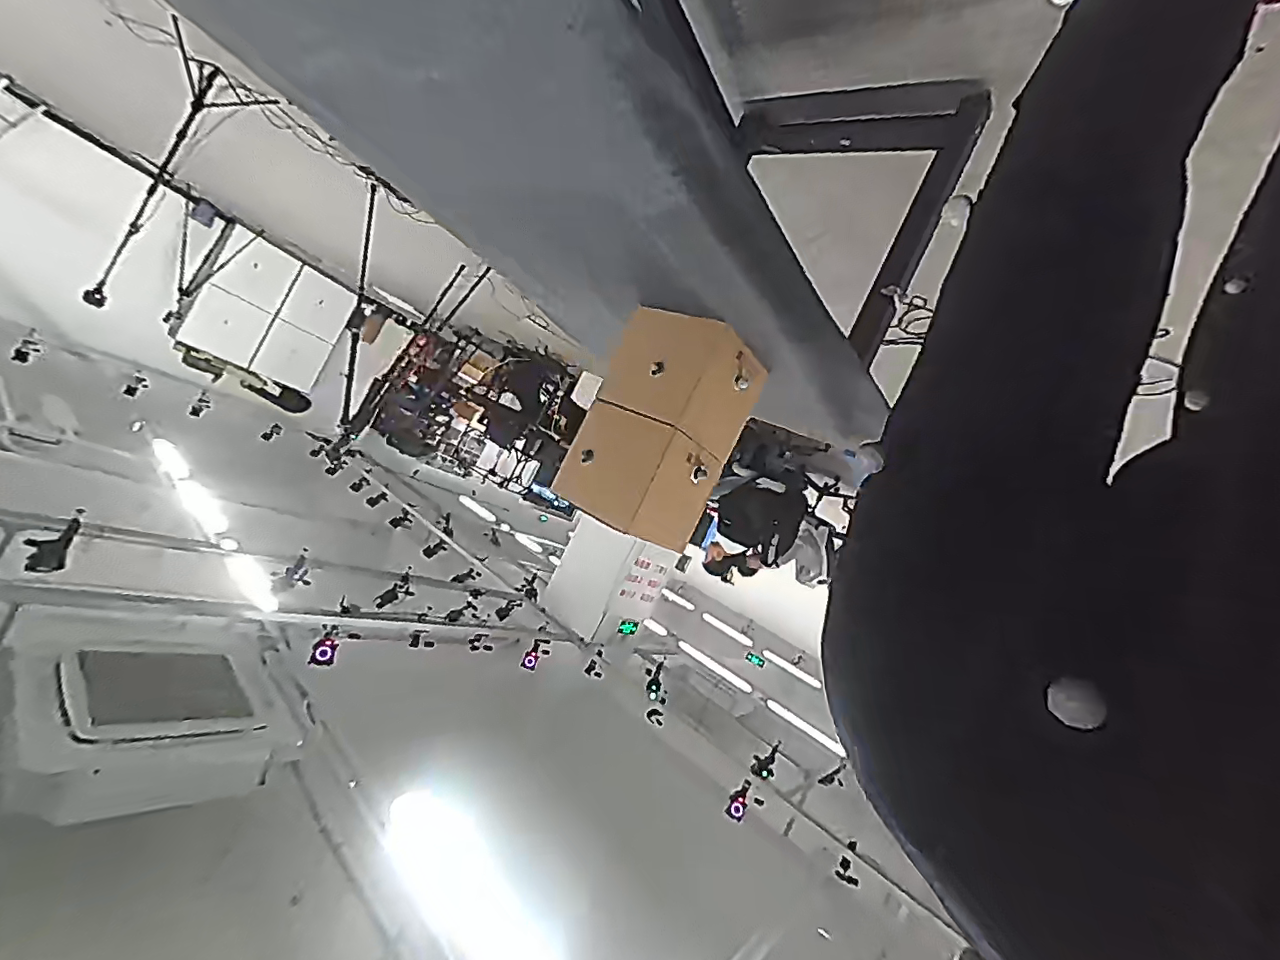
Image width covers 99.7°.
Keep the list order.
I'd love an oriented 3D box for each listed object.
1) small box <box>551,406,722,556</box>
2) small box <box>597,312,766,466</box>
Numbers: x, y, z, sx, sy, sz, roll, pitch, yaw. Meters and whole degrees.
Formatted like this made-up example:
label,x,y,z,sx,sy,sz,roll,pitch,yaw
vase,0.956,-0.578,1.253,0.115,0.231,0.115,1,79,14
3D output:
label,x,y,z,sx,sy,sz,roll,pitch,yaw
small box,-0.001,-0.002,0.856,0.179,0.176,0.168,24,178,38
small box,0.070,-0.148,0.862,0.179,0.176,0.168,24,177,38
